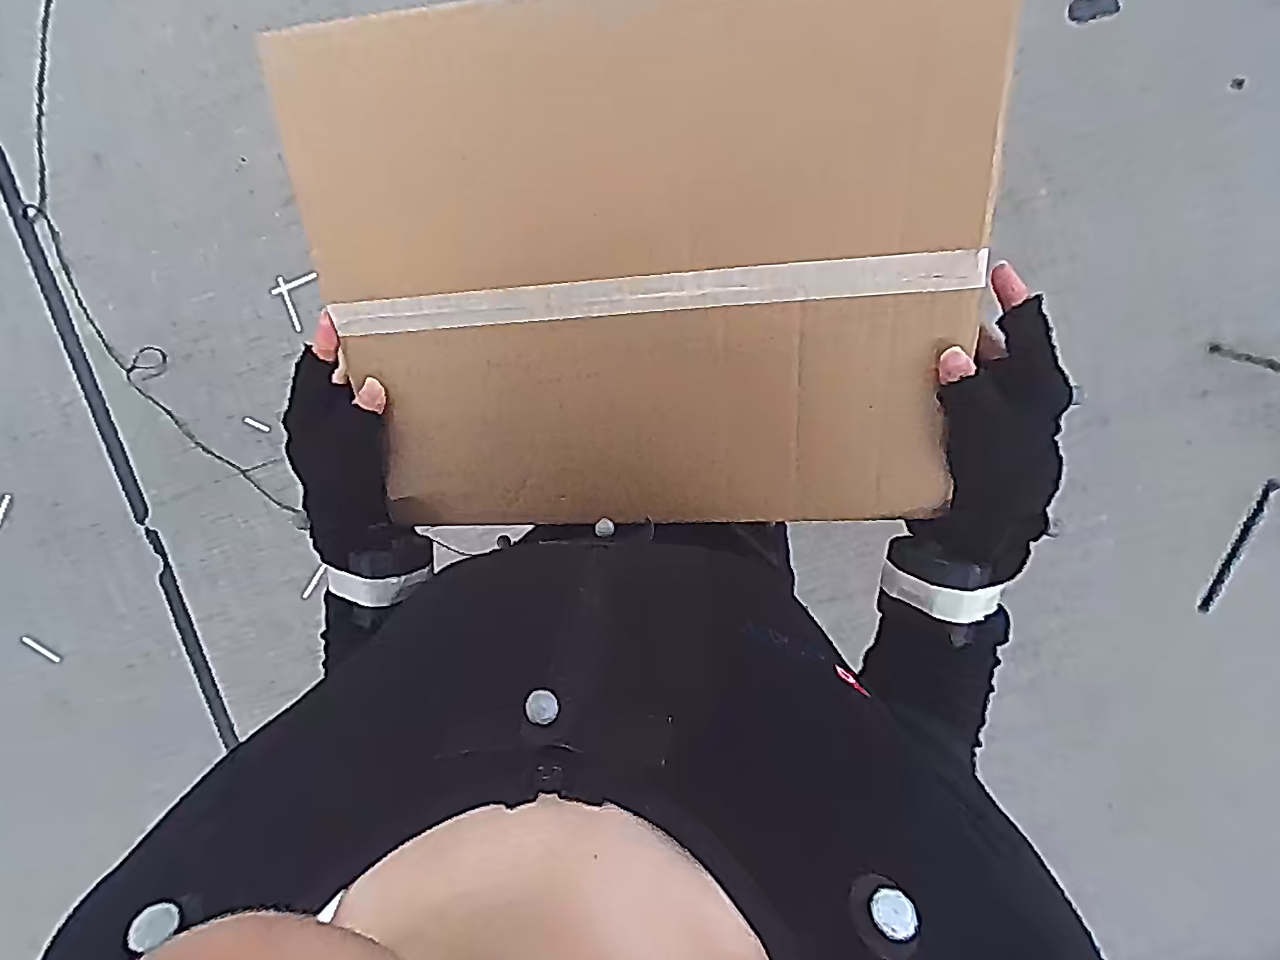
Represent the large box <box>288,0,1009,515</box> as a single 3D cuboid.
[{"bbox_3d":[0.015,-0.177,0.479,0.408,0.320,0.320,-1,113,8],"label":"large box"}]
